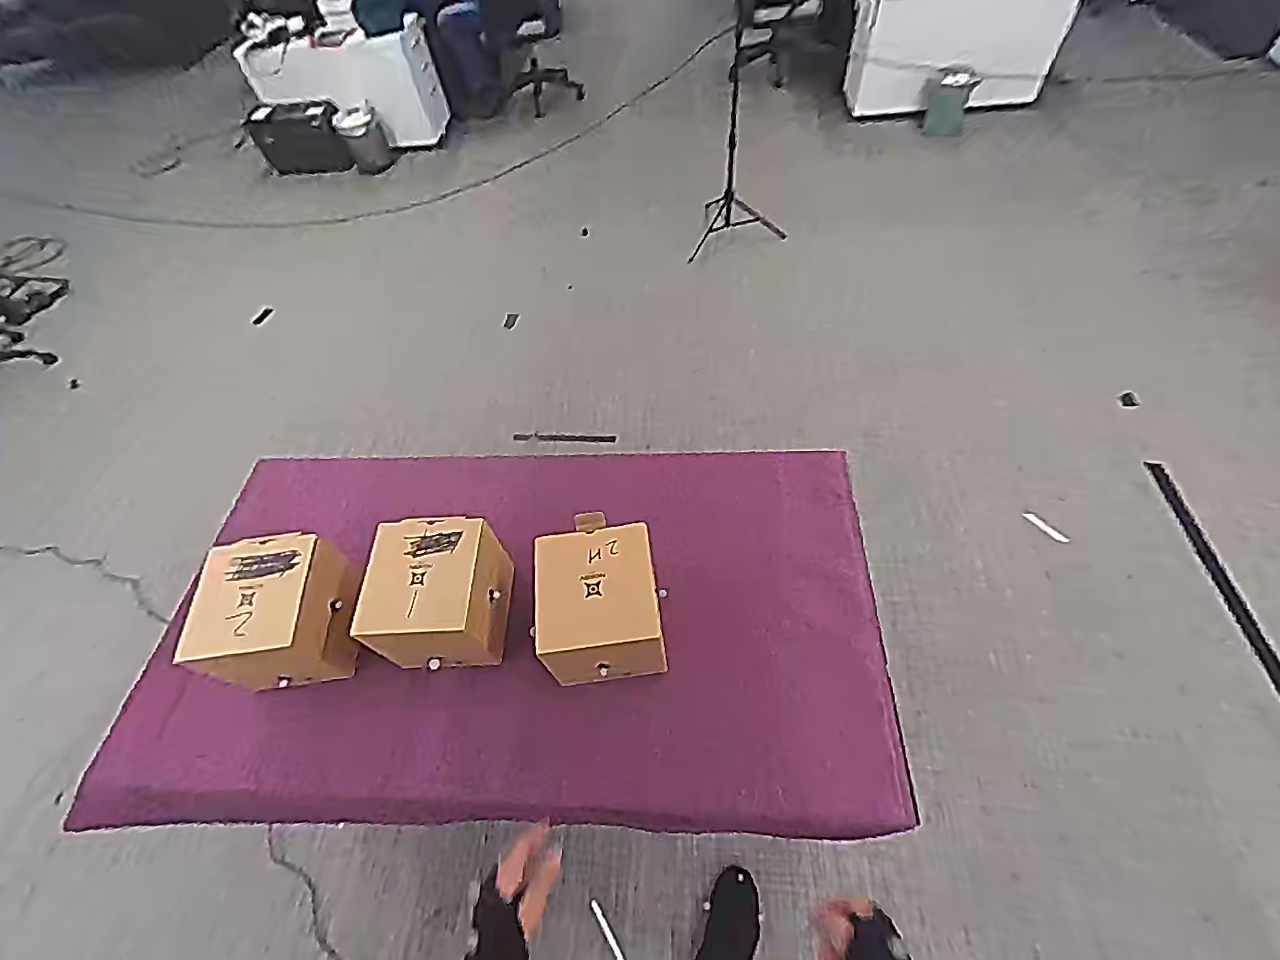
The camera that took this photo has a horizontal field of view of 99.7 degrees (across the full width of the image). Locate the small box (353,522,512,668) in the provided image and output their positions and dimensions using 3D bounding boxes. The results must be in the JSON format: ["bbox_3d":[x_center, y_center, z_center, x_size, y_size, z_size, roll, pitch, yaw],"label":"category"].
[{"bbox_3d":[-0.308,0.183,0.848,0.168,0.176,0.179,-3,56,4],"label":"small box"}]

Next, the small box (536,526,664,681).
[{"bbox_3d":[-0.056,0.193,0.815,0.168,0.176,0.179,-7,55,0],"label":"small box"}]
